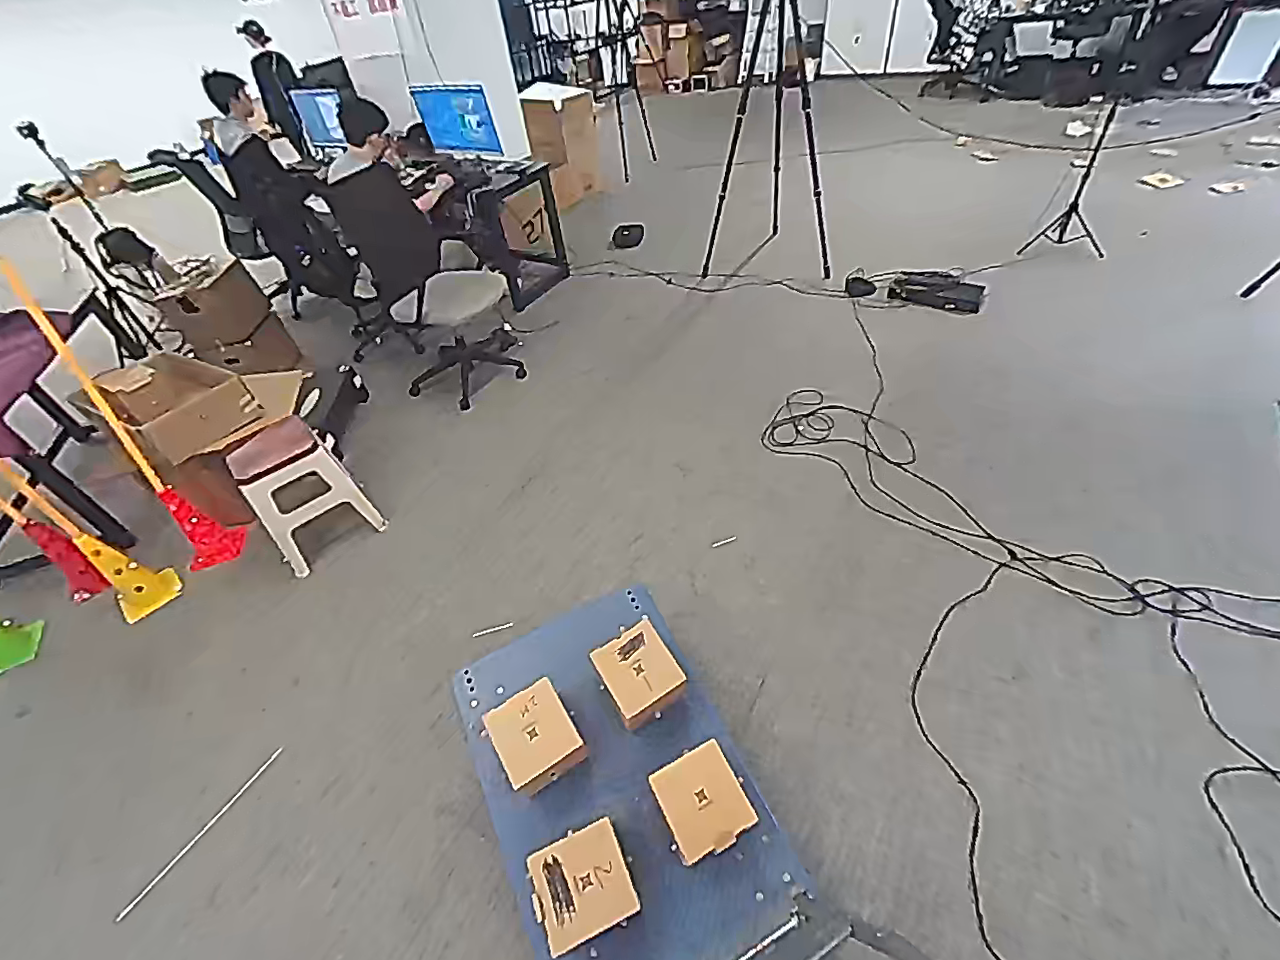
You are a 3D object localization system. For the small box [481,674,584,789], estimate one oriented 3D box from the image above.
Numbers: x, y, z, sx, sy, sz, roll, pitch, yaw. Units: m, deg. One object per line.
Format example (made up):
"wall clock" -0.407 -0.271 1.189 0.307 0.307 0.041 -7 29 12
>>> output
"small box" -0.240 0.584 1.244 0.168 0.176 0.179 -27 60 -19

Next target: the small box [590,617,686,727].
"small box" -0.008 0.472 1.322 0.168 0.176 0.179 -28 61 -17

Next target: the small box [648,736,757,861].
"small box" 0.125 0.693 1.174 0.168 0.176 0.179 -23 59 -15
